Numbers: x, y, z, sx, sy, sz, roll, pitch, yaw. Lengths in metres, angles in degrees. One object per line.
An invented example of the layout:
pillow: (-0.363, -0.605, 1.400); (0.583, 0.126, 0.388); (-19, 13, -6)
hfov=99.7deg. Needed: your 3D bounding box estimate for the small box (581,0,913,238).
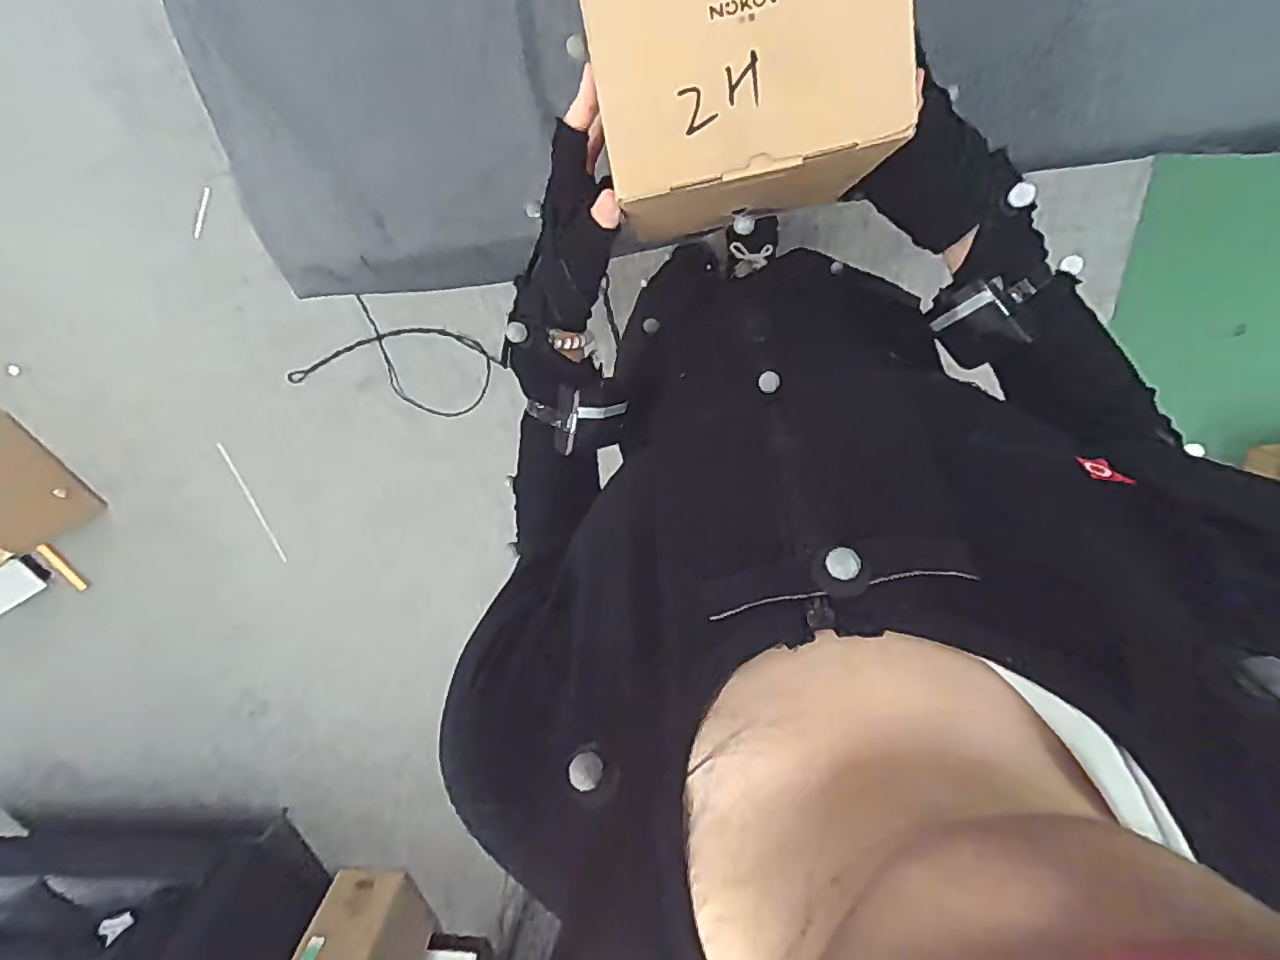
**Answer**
small box: (0.056, -0.275, 0.351); (0.168, 0.176, 0.179); (-9, 106, 8)
